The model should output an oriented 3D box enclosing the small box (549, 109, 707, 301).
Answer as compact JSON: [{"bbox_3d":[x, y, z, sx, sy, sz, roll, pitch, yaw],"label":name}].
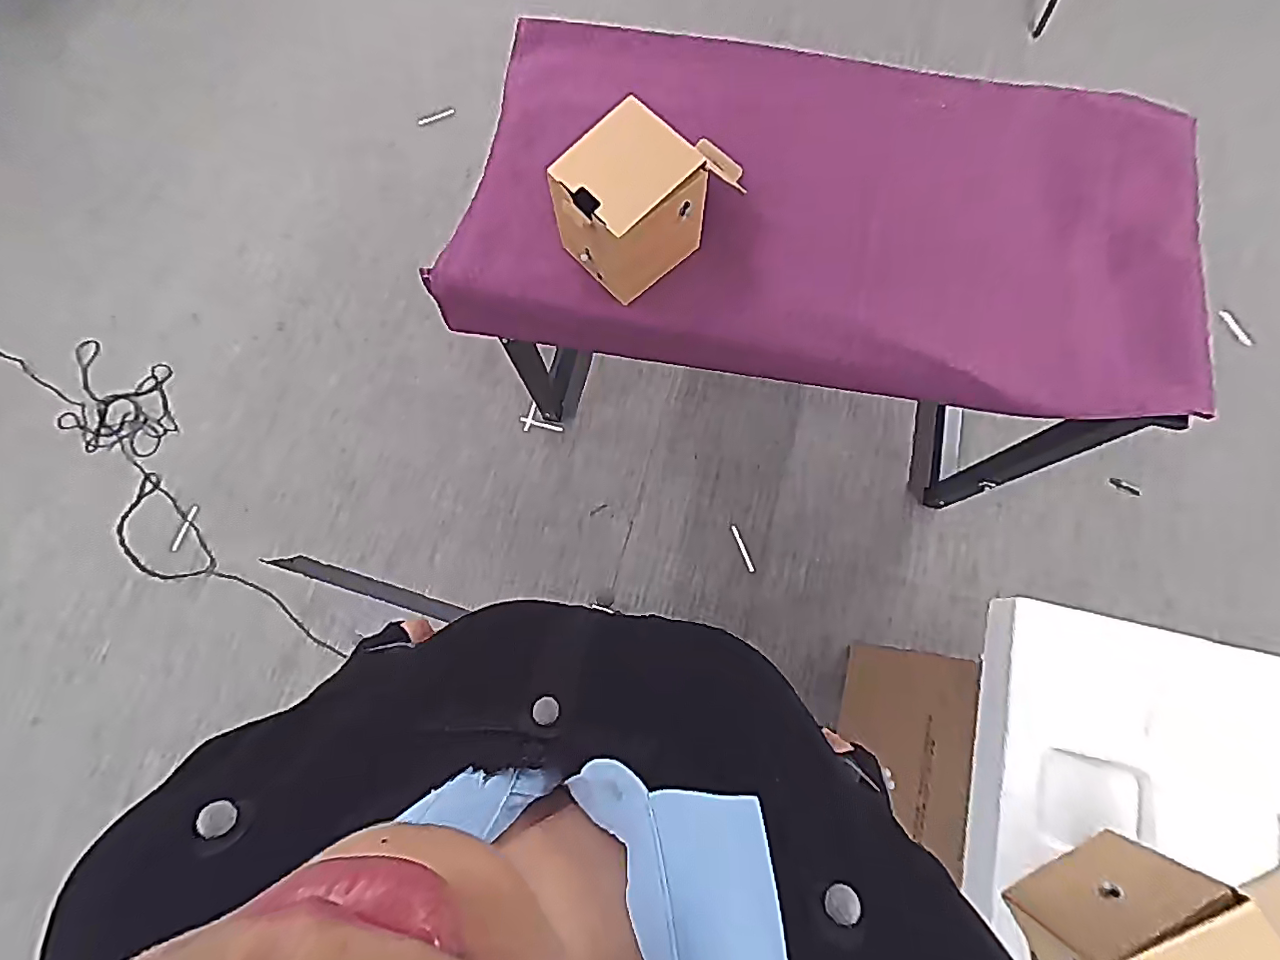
[{"bbox_3d":[-0.018,-0.429,0.863,0.179,0.176,0.168,-41,77,-9],"label":"small box"}]
